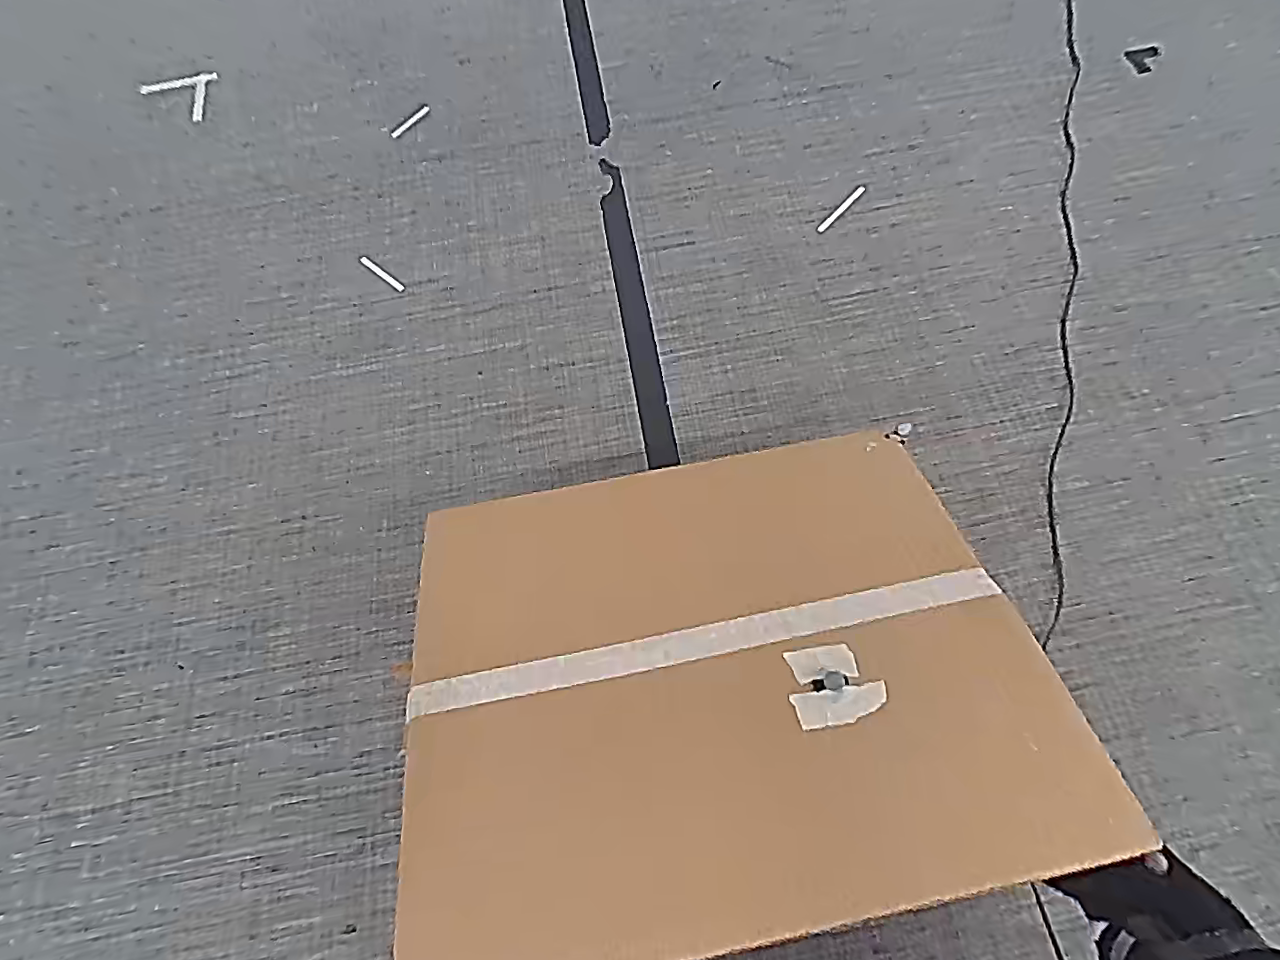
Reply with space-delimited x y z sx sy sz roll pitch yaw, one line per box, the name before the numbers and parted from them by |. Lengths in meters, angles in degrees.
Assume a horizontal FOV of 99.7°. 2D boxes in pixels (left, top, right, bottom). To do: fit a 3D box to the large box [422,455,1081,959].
large box | 0.054 0.224 0.516 0.408 0.320 0.320 -11 52 -3
